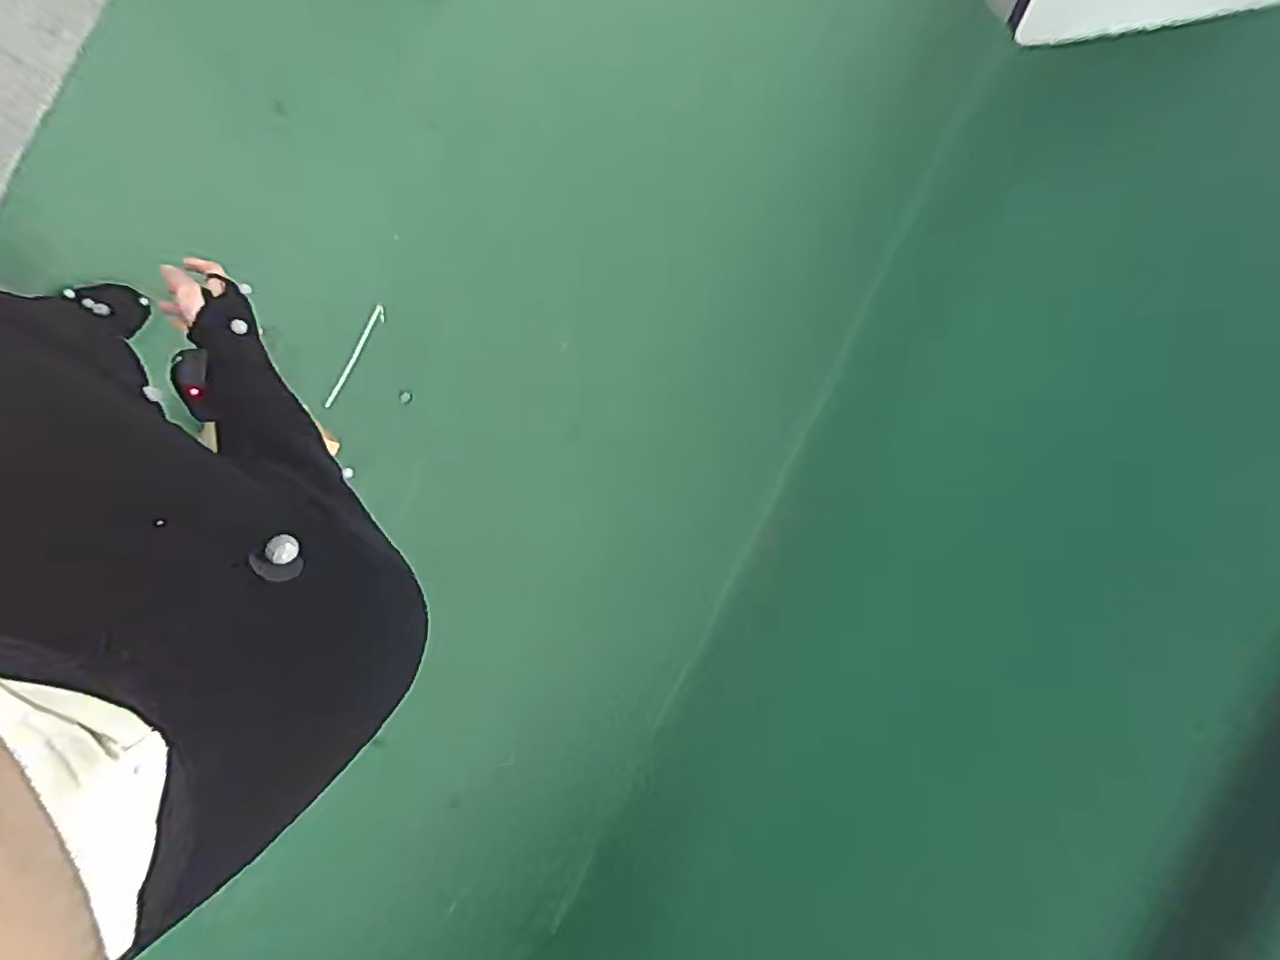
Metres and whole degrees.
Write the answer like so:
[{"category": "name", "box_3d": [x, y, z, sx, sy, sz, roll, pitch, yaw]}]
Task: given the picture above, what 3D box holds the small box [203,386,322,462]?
[{"category": "small box", "box_3d": [-0.930, -0.113, 1.328, 0.179, 0.176, 0.168, 29, 87, -48]}]
